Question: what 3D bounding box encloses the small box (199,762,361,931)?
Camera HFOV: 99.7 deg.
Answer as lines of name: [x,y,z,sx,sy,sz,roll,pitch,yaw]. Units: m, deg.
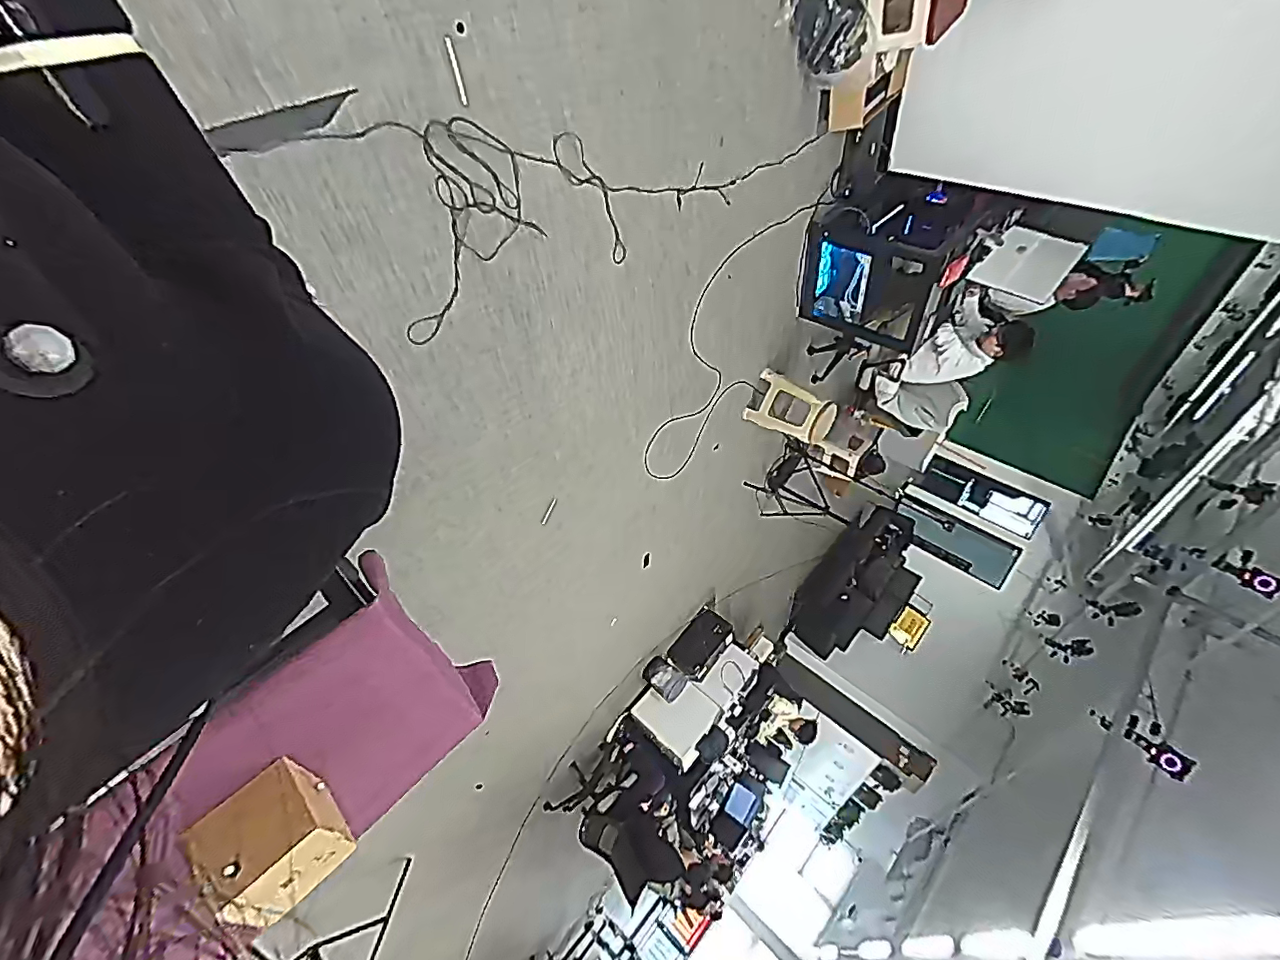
small box: [-0.659,0.665,0.989,0.179,0.176,0.168,-39,145,-29]
